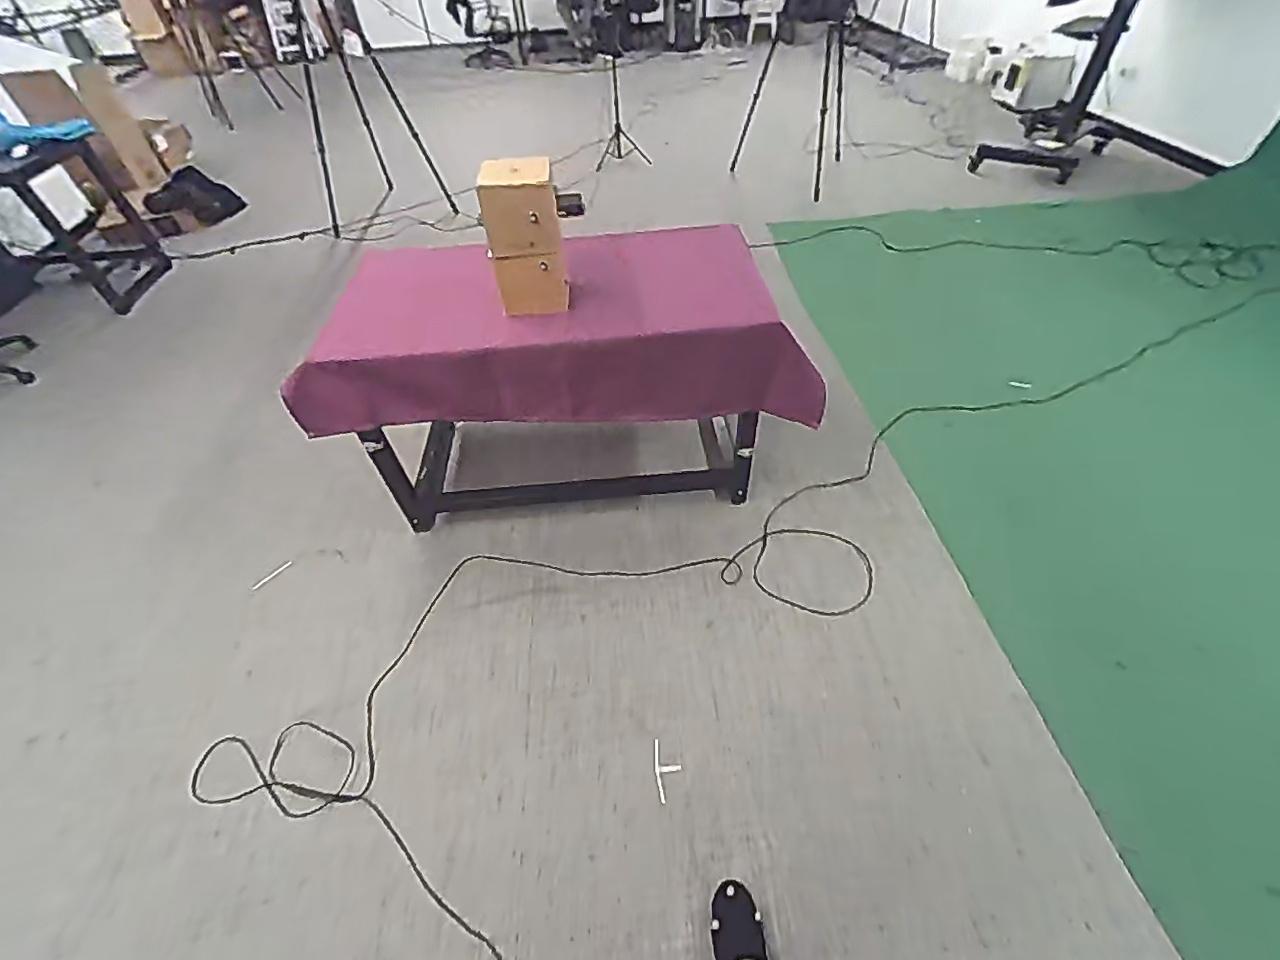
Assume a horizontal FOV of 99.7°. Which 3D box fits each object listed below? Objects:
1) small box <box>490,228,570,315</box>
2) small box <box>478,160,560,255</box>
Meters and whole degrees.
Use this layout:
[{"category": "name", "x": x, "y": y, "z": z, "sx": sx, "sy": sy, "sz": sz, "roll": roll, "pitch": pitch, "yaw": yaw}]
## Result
[{"category": "small box", "x": -0.290, "y": -0.559, "z": 1.458, "sx": 0.179, "sy": 0.176, "sz": 0.168, "roll": -4, "pitch": 47, "yaw": -1}, {"category": "small box", "x": -0.291, "y": -0.670, "z": 1.339, "sx": 0.168, "sy": 0.176, "sz": 0.179, "roll": -4, "pitch": 46, "yaw": -2}]
